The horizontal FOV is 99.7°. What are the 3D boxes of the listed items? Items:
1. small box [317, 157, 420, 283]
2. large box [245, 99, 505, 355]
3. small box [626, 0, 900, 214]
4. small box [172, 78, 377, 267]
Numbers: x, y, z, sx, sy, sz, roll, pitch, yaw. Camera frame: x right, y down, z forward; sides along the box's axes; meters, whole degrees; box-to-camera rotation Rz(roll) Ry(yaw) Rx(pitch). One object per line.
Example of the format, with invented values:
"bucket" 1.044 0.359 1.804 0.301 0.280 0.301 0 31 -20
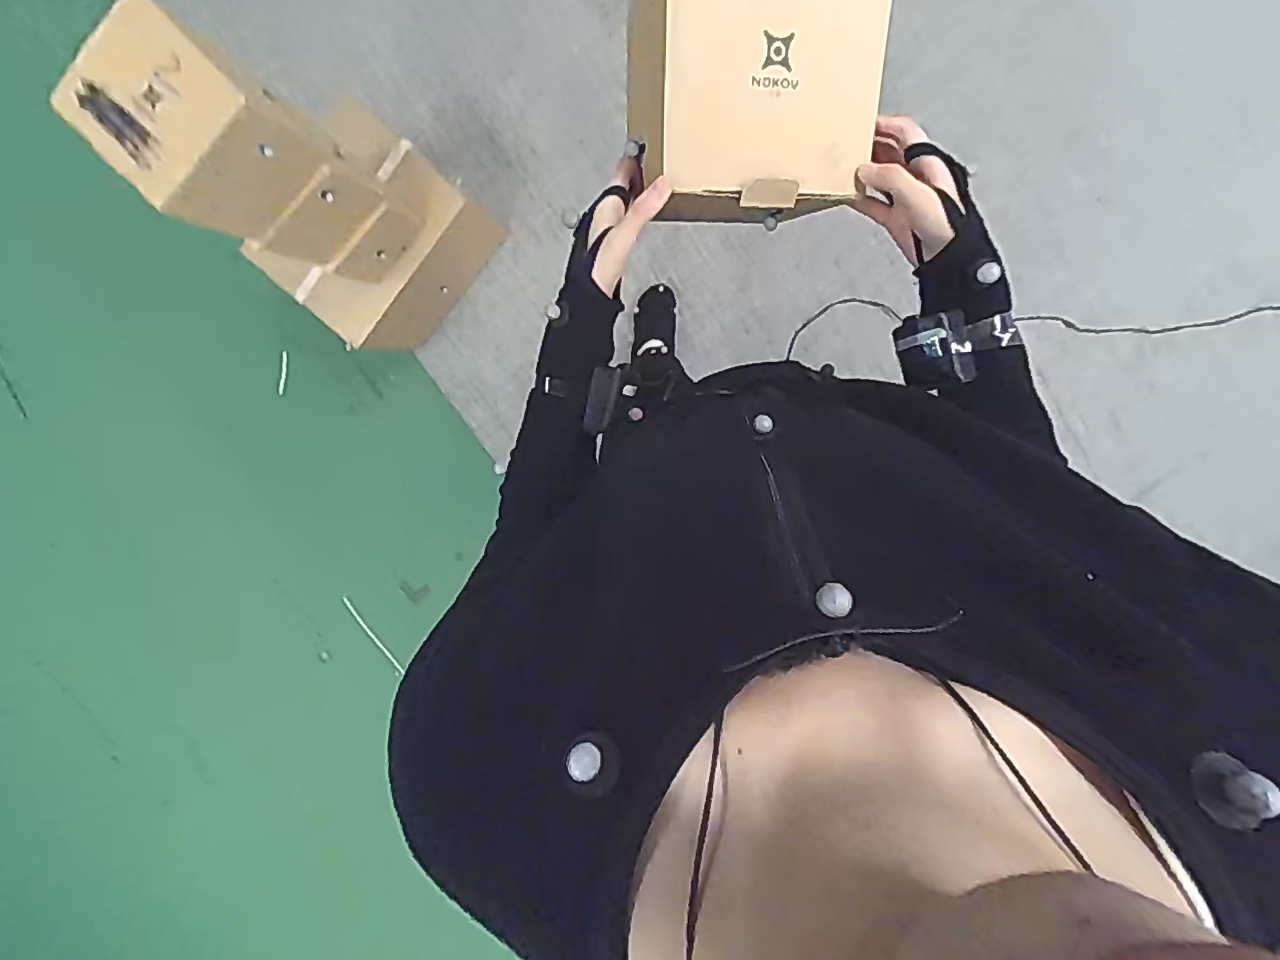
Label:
"small box" -0.557 -0.495 1.022 0.168 0.176 0.179 -42 98 9
"large box" -0.588 -0.547 1.263 0.320 0.320 0.408 41 102 -5
"small box" 0.083 -0.326 0.445 0.168 0.176 0.179 -2 109 -11
"small box" -0.565 -0.469 0.862 0.179 0.176 0.168 -41 98 9
